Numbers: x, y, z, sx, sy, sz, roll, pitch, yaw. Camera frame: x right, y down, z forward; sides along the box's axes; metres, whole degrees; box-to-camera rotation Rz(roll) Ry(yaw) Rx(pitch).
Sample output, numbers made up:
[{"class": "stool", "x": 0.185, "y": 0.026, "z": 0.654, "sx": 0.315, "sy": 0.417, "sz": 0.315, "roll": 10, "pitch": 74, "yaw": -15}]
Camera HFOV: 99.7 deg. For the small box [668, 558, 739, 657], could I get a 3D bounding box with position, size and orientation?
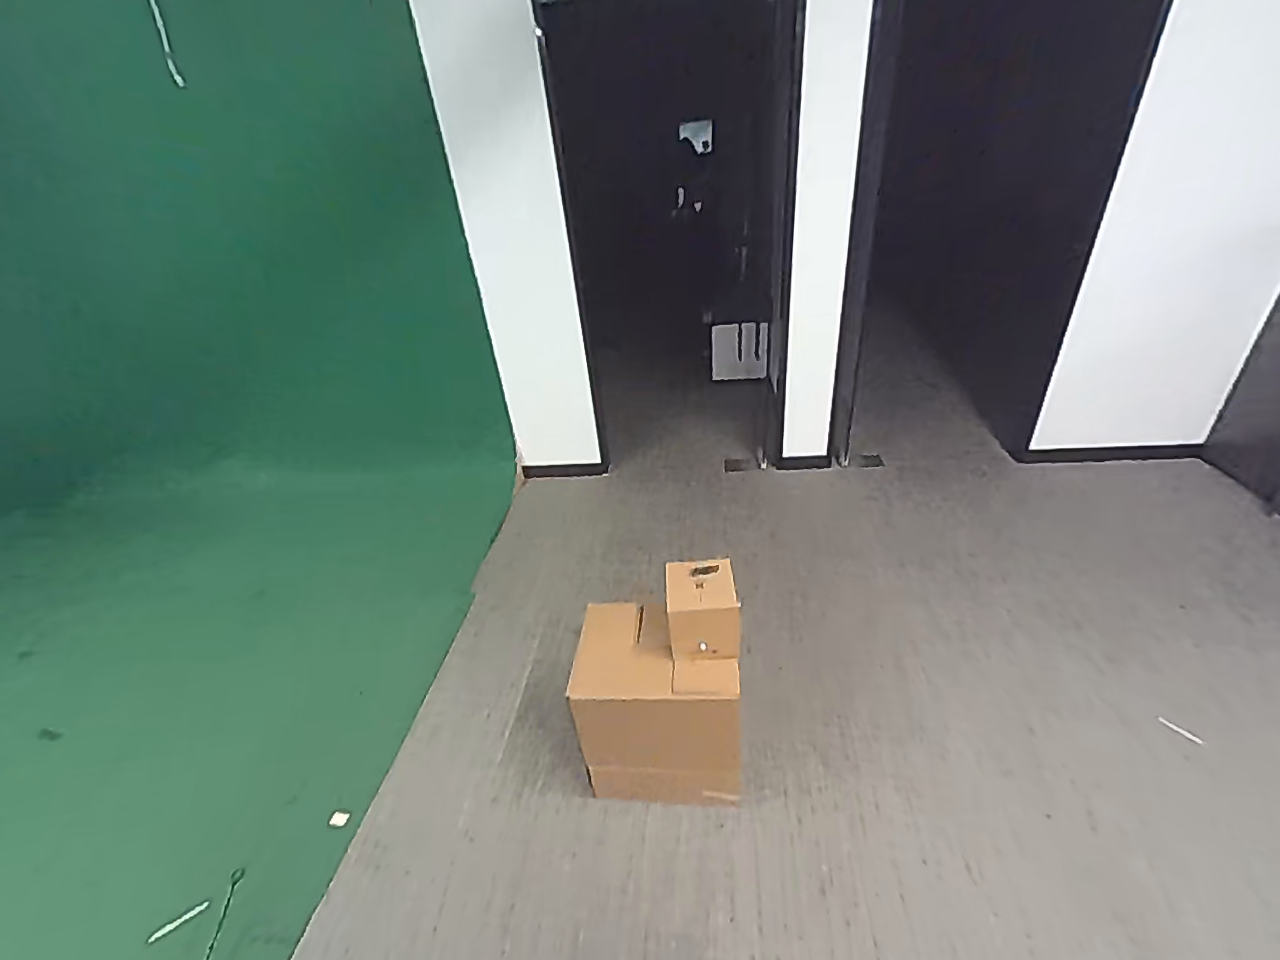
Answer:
[{"class": "small box", "x": 0.158, "y": 0.320, "z": 1.362, "sx": 0.168, "sy": 0.176, "sz": 0.179, "roll": -6, "pitch": 32, "yaw": 6}]
